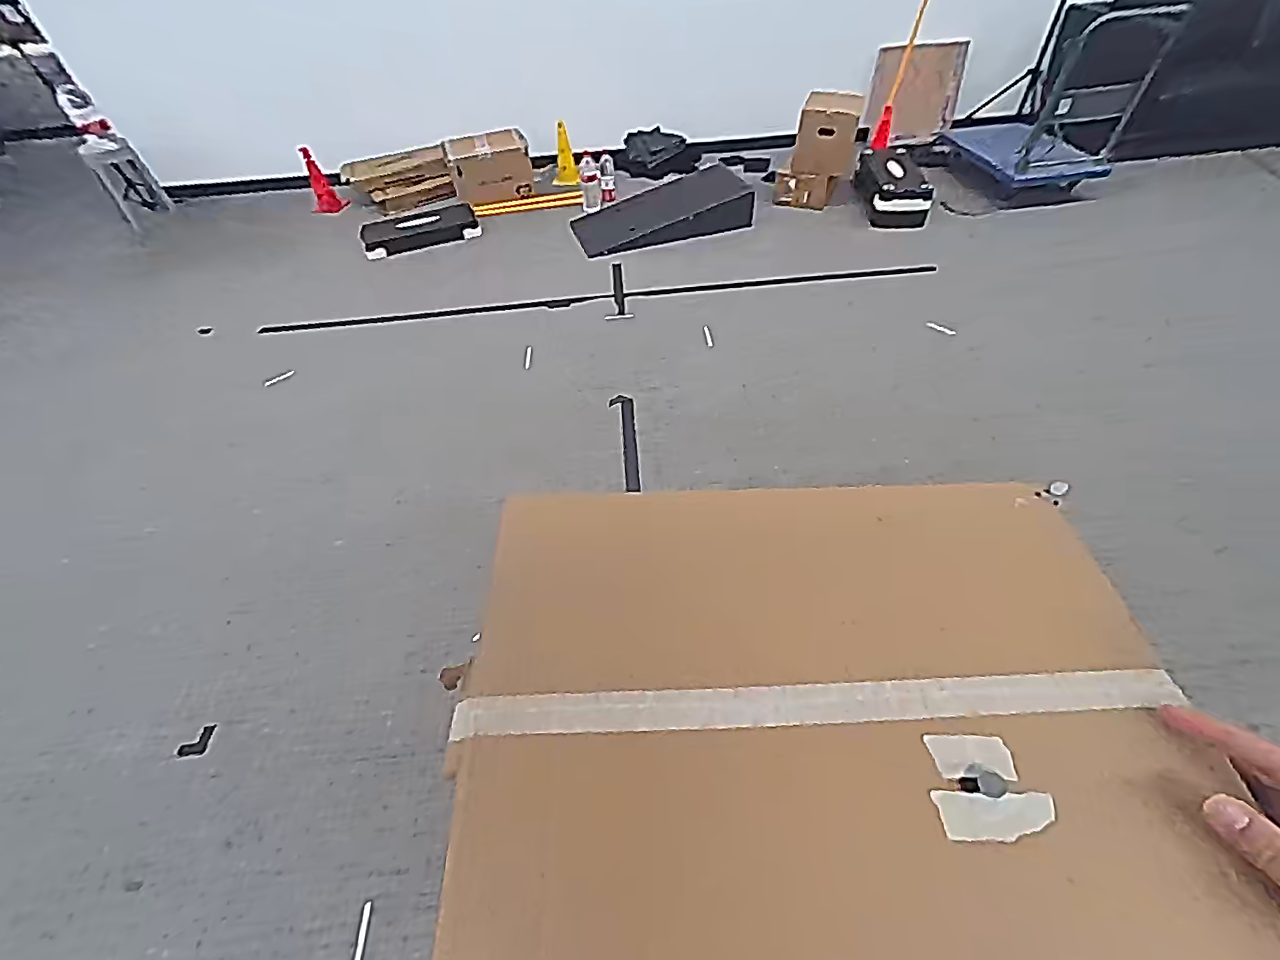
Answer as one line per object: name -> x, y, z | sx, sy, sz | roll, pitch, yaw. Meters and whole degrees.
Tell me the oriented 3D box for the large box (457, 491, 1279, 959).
large box -> 0.105, 0.226, 0.431 | 0.408, 0.320, 0.320 | -1, 51, -2
